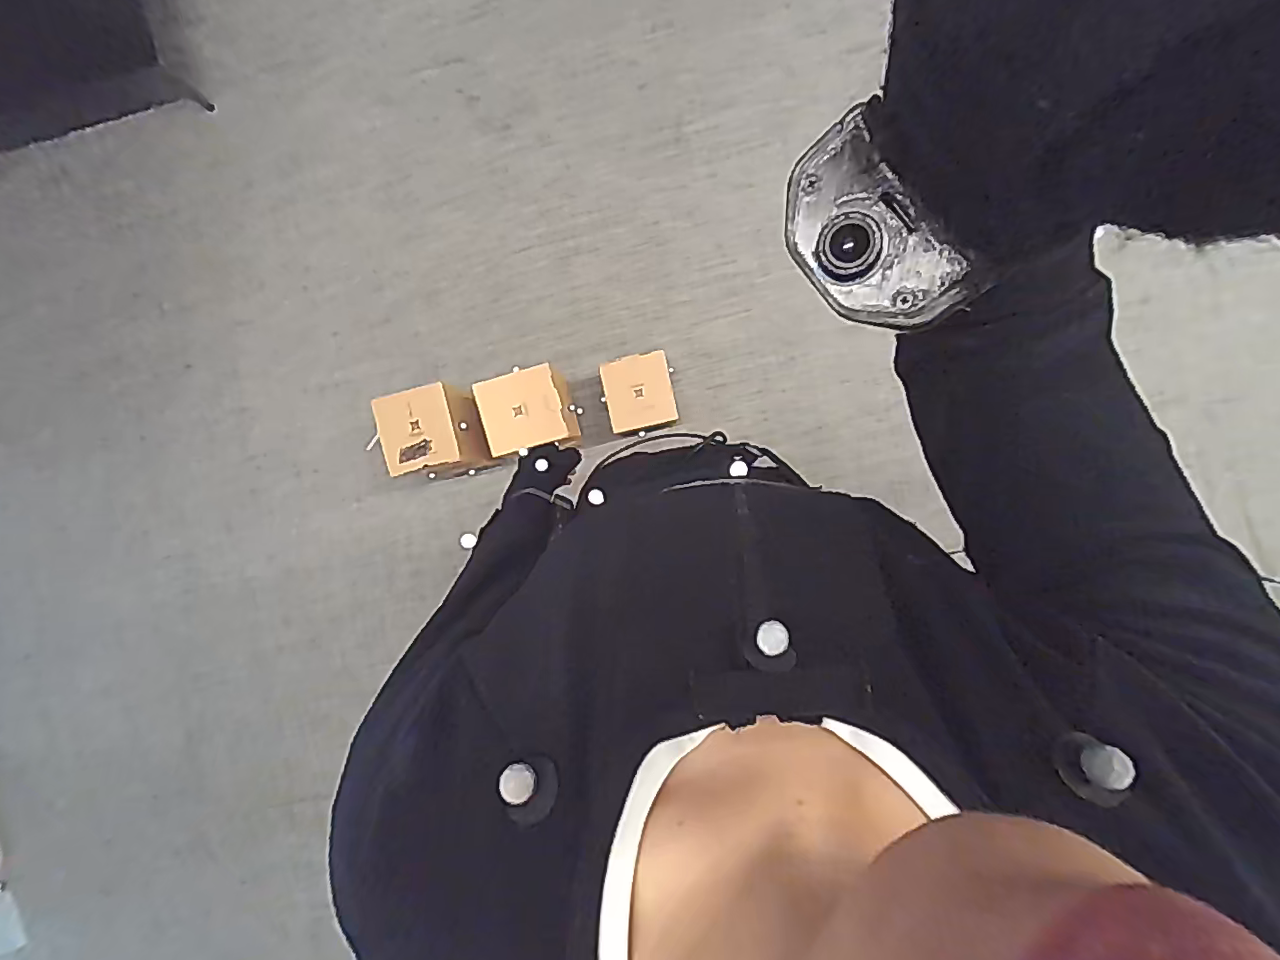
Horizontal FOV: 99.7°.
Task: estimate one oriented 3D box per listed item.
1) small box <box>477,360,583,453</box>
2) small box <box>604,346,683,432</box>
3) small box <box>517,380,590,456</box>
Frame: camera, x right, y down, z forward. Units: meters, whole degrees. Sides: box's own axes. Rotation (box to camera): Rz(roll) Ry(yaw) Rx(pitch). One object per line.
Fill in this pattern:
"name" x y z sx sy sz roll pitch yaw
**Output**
"small box" -0.243 -0.160 1.233 0.179 0.176 0.168 -16 93 3
"small box" 0.011 -0.226 1.381 0.168 0.176 0.179 -12 93 4
"small box" -0.238 -0.163 1.395 0.168 0.176 0.179 -15 92 5
